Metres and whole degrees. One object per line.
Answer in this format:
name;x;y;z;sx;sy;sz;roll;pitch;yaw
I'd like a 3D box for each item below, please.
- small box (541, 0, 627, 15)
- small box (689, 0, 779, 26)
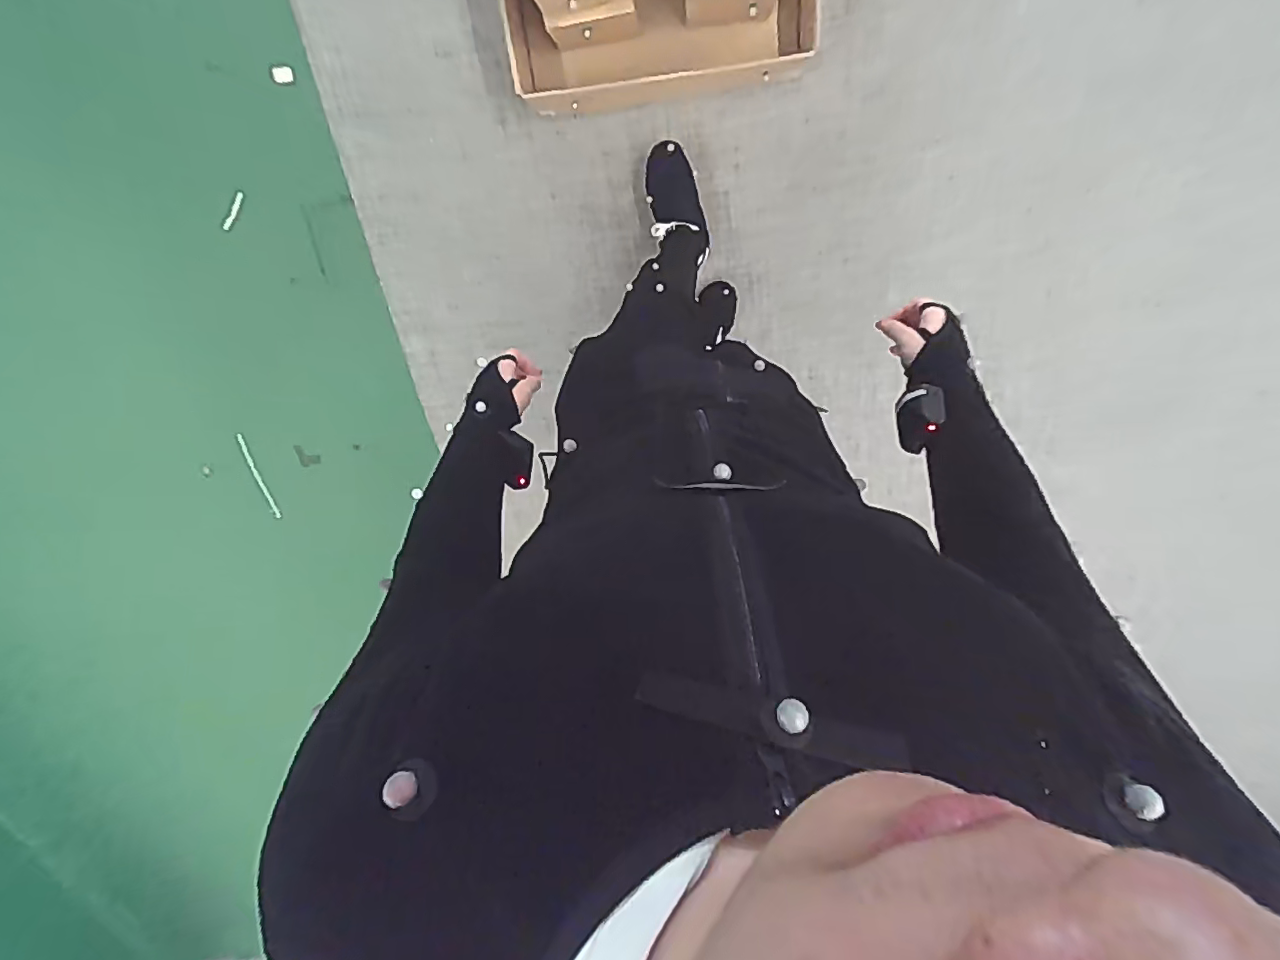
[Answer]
small box;-0.109;-0.933;0.921;0.168;0.176;0.179;-7;115;8
small box;0.182;-1.005;1.040;0.179;0.176;0.168;-1;116;6
